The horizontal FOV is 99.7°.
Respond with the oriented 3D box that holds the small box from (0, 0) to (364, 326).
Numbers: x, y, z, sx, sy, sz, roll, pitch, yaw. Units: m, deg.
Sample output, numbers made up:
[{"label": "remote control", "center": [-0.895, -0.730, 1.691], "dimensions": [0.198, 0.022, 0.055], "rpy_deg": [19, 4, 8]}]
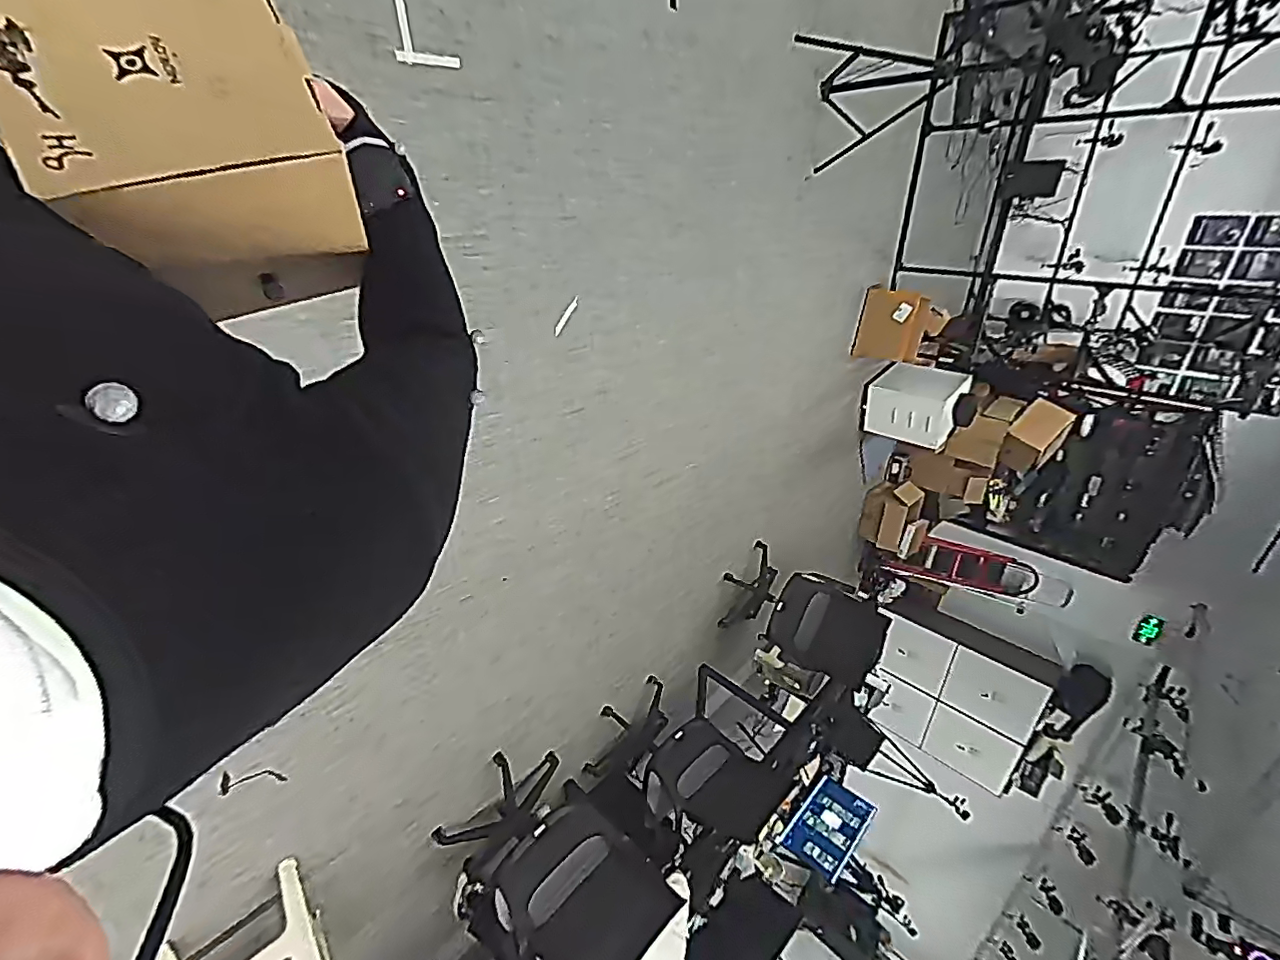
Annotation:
[{"label": "small box", "center": [-0.346, -0.254, 0.439], "dimensions": [0.179, 0.176, 0.168], "rpy_deg": [-26, 86, -22]}]
